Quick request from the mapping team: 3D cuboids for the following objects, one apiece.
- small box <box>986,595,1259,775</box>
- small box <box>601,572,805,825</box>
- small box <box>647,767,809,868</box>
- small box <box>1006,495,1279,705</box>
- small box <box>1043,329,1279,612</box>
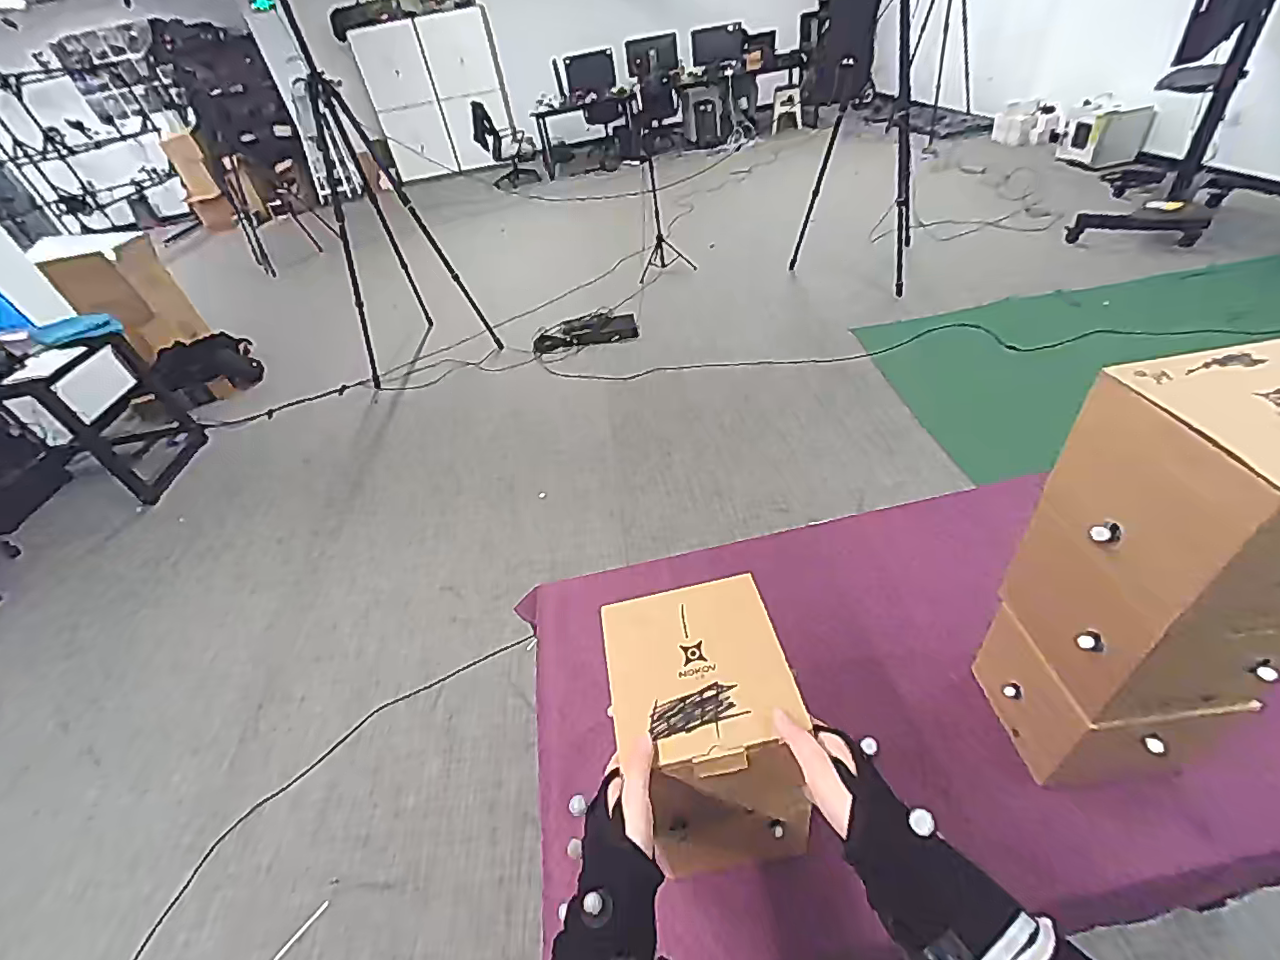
[{"bbox_3d":[0.564,0.246,0.672,0.179,0.176,0.168,-9,41,4],"label":"small box"},{"bbox_3d":[0.063,0.230,0.560,0.168,0.176,0.179,-13,39,0],"label":"small box"},{"bbox_3d":[0.099,0.355,0.674,0.179,0.176,0.168,-12,41,1],"label":"small box"},{"bbox_3d":[0.534,0.119,0.573,0.168,0.176,0.179,-9,40,4],"label":"small box"},{"bbox_3d":[0.503,-0.002,0.467,0.168,0.176,0.179,-9,41,3],"label":"small box"}]
